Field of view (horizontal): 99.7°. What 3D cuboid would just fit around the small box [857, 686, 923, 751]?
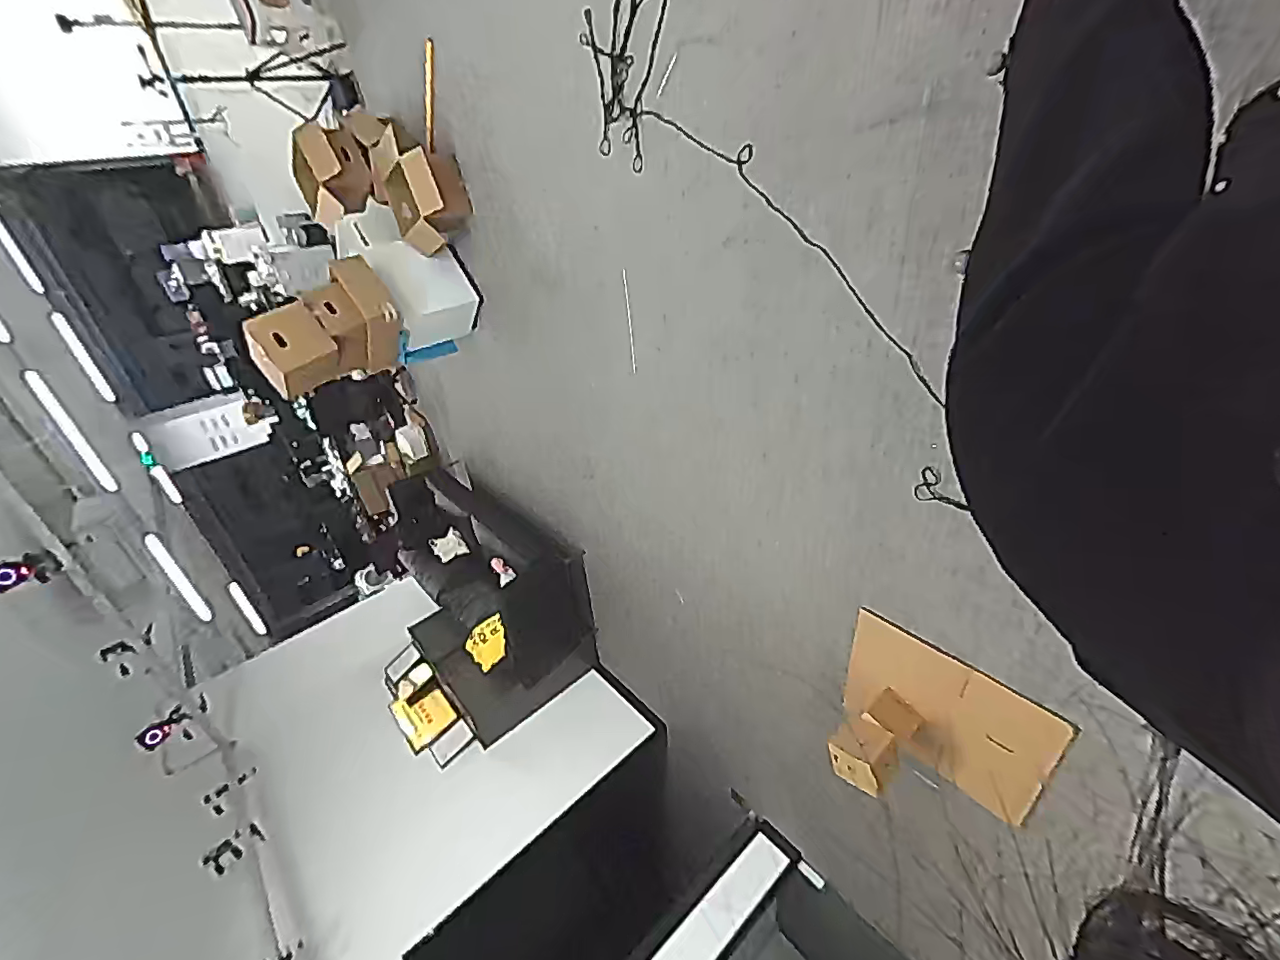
[{"bbox_3d":[0.955,0.935,2.089,0.168,0.176,0.179,43,144,27],"label":"small box"}]

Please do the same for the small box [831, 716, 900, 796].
[{"bbox_3d":[0.841,1.012,2.002,0.179,0.176,0.168,8,121,52],"label":"small box"}]
